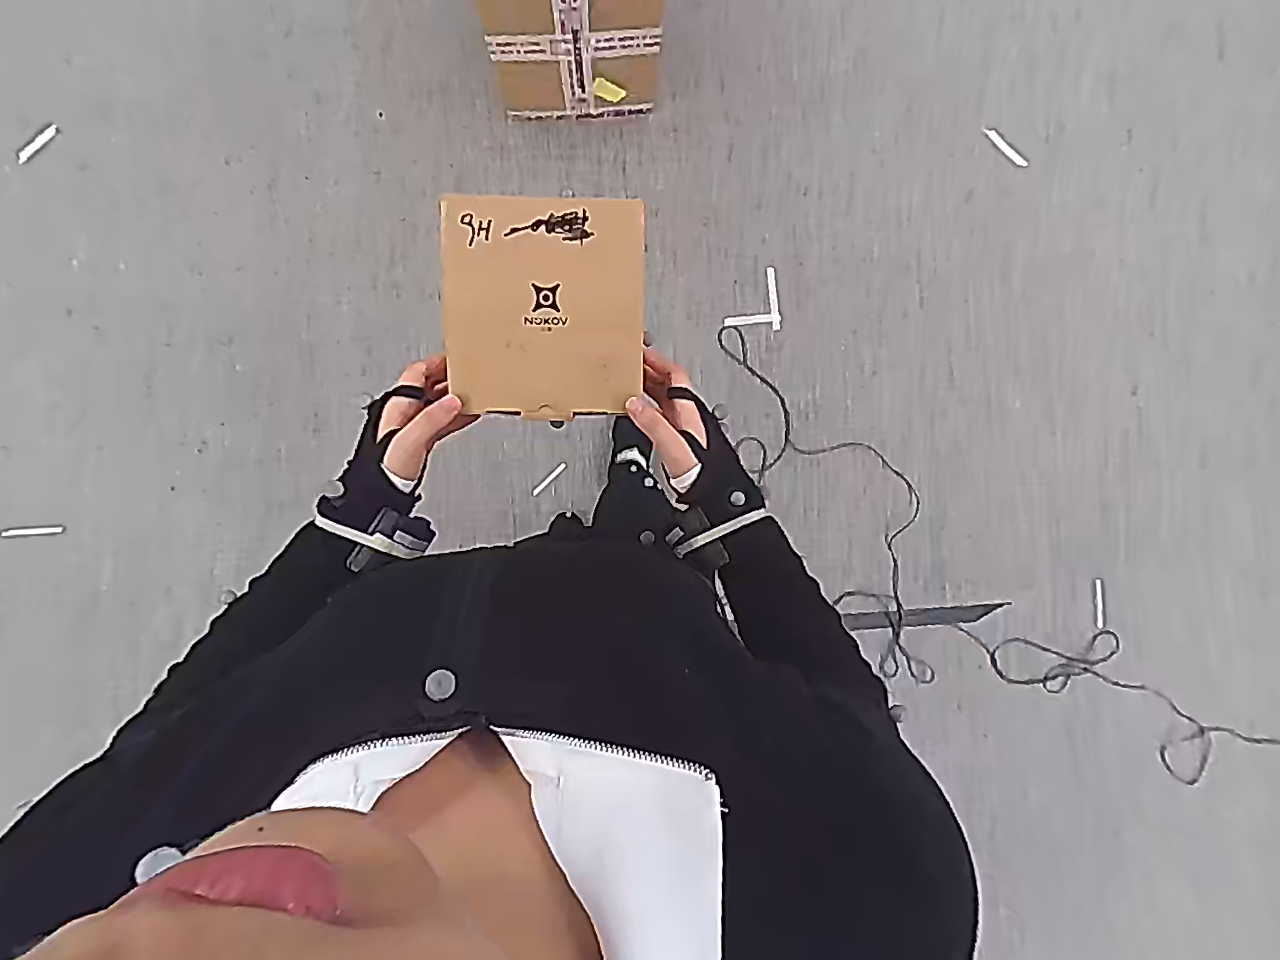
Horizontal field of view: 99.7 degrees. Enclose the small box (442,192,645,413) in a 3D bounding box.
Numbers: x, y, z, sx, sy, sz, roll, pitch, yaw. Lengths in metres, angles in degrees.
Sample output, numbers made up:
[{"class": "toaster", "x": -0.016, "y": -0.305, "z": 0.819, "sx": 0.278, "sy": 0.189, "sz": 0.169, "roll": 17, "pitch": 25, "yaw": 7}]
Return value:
[{"class": "small box", "x": -0.080, "y": -0.159, "z": 0.527, "sx": 0.168, "sy": 0.176, "sz": 0.179, "roll": 0, "pitch": 100, "yaw": -2}]
